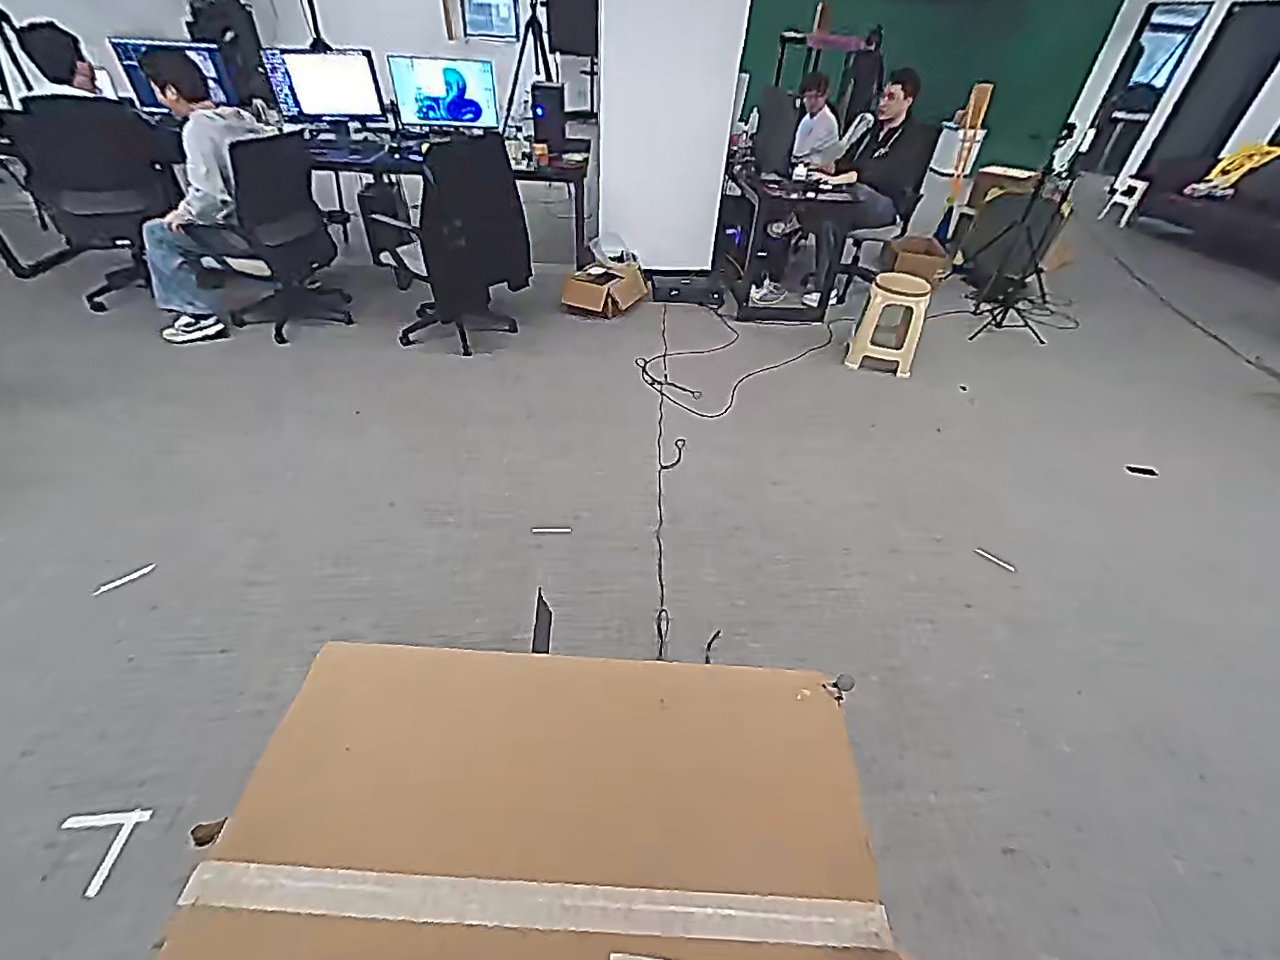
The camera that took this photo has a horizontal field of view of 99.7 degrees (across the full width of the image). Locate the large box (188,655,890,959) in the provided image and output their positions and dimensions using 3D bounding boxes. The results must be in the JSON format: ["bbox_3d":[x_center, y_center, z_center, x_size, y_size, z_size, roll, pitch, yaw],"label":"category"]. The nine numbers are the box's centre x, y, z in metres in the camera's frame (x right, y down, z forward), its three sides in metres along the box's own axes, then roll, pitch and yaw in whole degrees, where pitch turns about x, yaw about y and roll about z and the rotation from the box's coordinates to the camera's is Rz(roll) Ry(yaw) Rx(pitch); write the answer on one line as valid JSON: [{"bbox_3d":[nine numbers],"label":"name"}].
[{"bbox_3d":[-0.059,0.363,0.427,0.408,0.320,0.320,3,45,0],"label":"large box"}]
